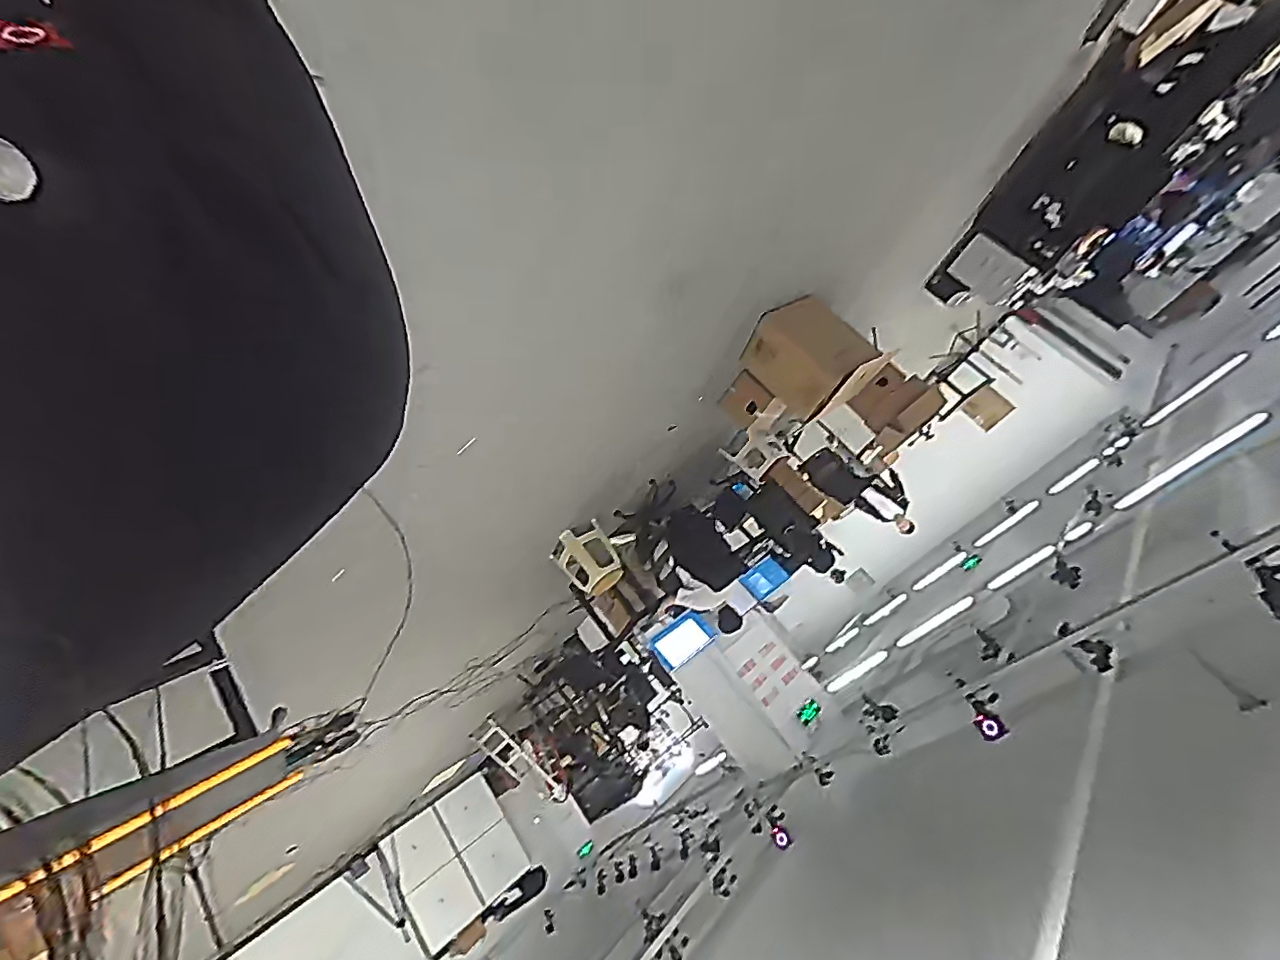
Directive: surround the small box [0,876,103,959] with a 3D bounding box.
[{"bbox_3d":[-1.514,1.146,1.365,0.168,0.176,0.179,-26,154,-40],"label":"small box"}]
